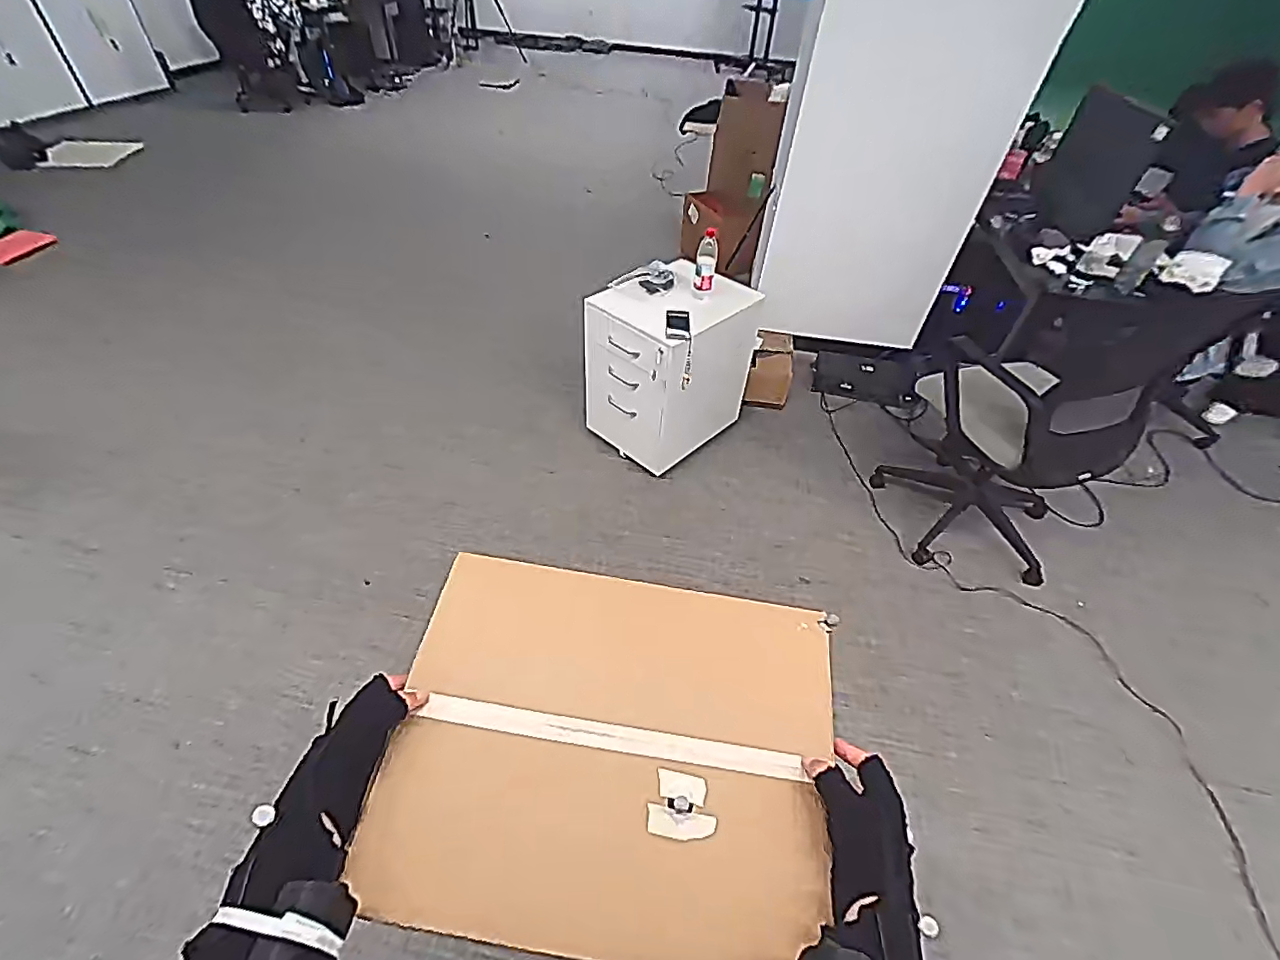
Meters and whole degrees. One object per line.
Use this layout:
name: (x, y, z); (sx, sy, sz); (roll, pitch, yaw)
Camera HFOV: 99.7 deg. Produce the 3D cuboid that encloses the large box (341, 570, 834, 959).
large box: (-0.036, 0.334, 0.630); (0.408, 0.320, 0.320); (9, 56, 1)
